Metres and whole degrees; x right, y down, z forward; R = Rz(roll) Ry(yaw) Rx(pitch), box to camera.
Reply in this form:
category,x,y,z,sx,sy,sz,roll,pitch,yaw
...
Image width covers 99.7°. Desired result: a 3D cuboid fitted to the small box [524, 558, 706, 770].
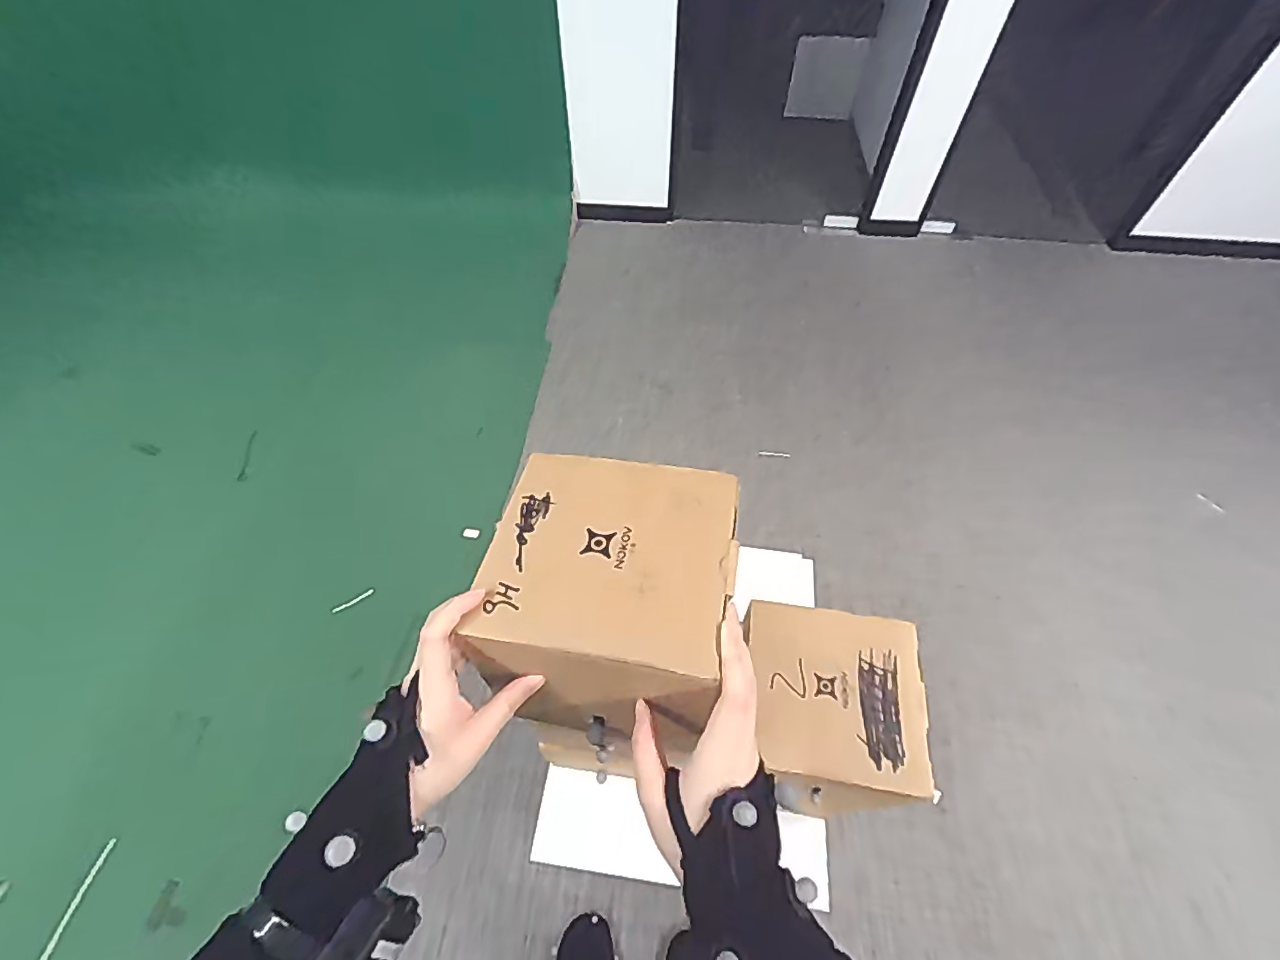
category,x,y,z,sx,sy,sz,roll,pitch,yaw
small box,-0.022,0.216,0.628,0.168,0.176,0.179,8,55,5

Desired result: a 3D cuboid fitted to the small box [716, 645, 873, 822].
category,x,y,z,sx,sy,sz,roll,pitch,yaw
small box,0.198,0.347,0.735,0.168,0.176,0.179,7,56,5

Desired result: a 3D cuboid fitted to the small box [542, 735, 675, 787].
category,x,y,z,sx,sy,sz,roll,pitch,yaw
small box,-0.029,0.314,0.760,0.168,0.176,0.179,7,56,4
